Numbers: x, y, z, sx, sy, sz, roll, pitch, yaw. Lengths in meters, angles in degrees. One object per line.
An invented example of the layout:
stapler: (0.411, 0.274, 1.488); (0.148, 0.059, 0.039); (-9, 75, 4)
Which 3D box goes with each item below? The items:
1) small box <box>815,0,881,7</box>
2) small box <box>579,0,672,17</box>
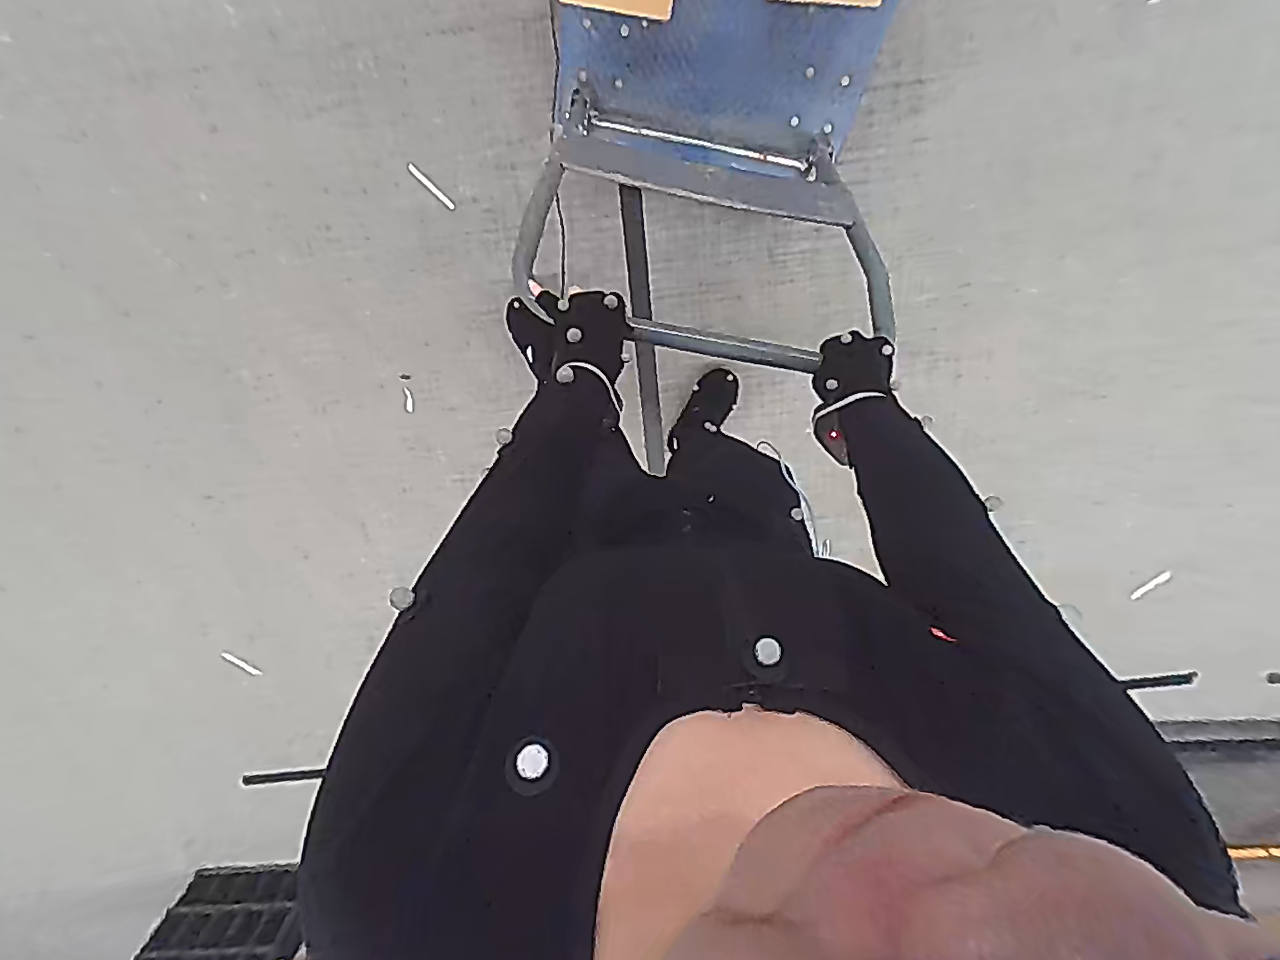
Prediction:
small box: (0.287, -0.836, 0.815); (0.179, 0.176, 0.168); (5, 136, 0)
small box: (-0.025, -0.843, 0.836); (0.179, 0.176, 0.168); (7, 135, -4)
